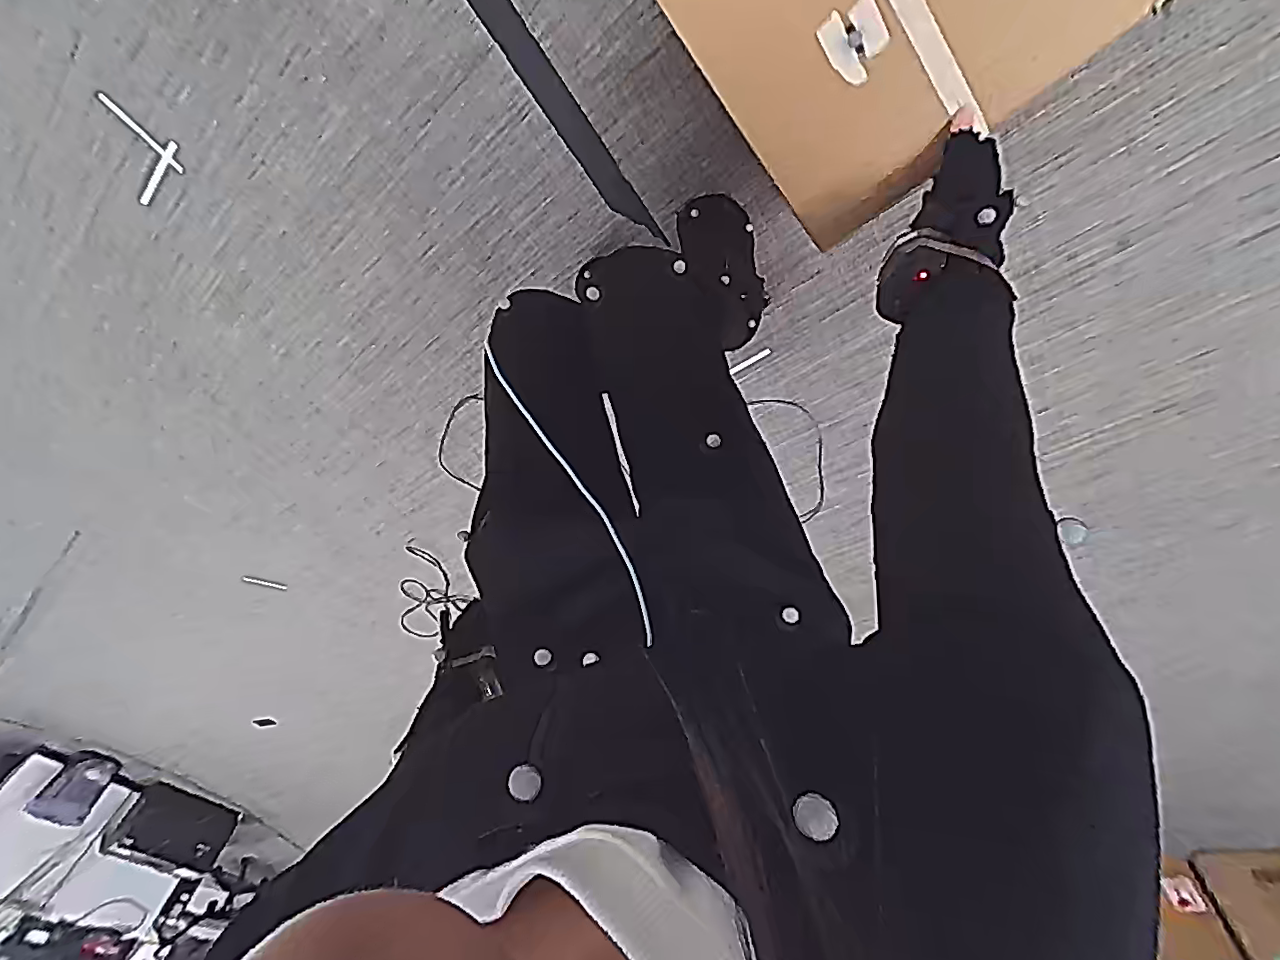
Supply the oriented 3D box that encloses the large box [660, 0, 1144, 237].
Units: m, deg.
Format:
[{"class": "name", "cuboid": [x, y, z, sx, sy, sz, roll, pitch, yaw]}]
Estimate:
[{"class": "large box", "cuboid": [0.206, -0.539, 0.557, 0.320, 0.320, 0.408, -32, 110, 29]}]
